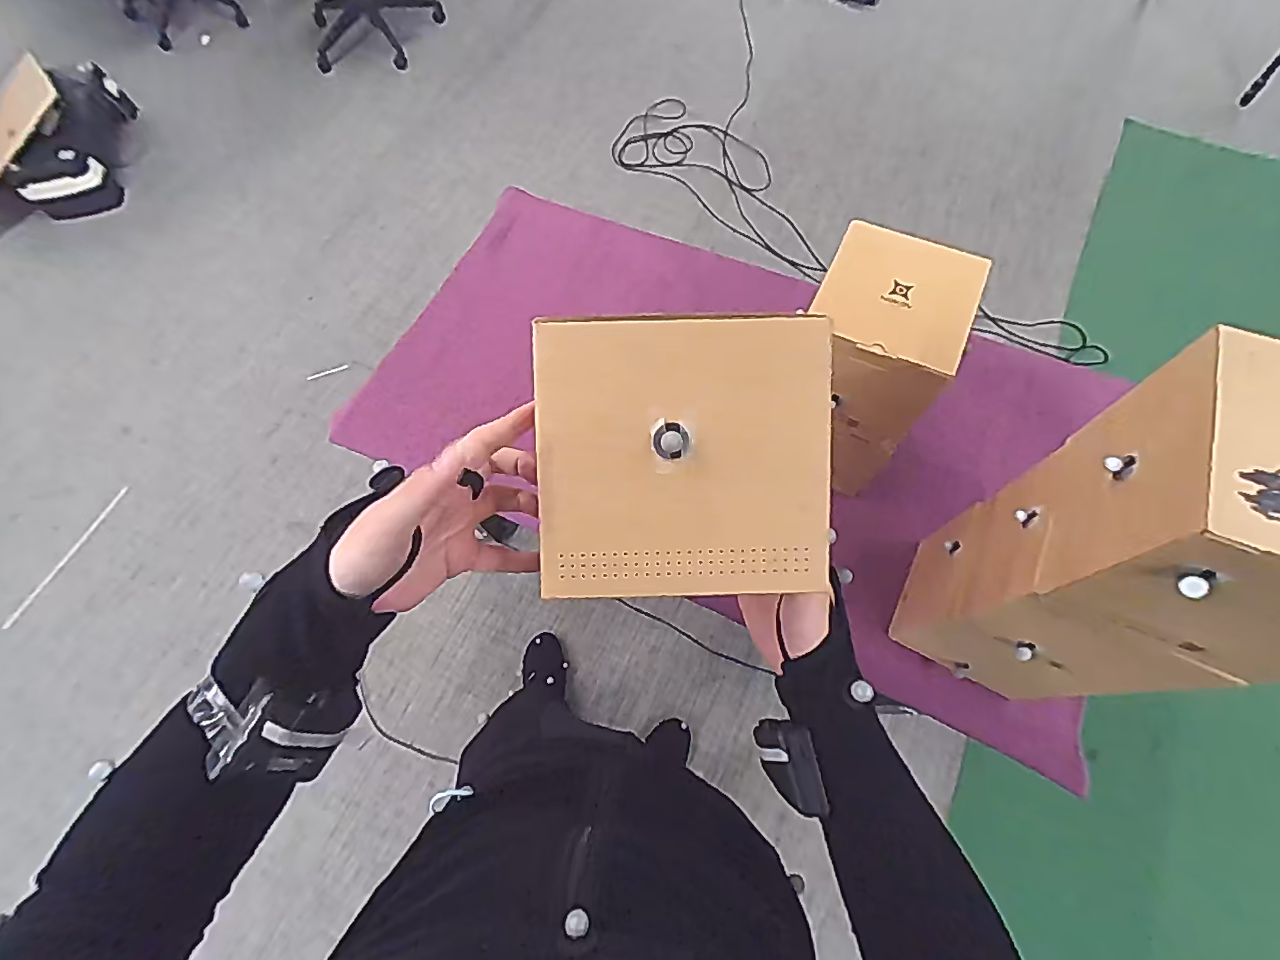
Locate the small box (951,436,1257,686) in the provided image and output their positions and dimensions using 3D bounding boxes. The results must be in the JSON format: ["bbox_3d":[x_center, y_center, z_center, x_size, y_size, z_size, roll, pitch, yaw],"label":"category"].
[{"bbox_3d":[0.458,0.091,0.559,0.168,0.176,0.179,26,70,14],"label":"small box"}]

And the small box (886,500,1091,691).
[{"bbox_3d":[0.460,0.157,0.709,0.179,0.176,0.168,27,70,13],"label":"small box"}]

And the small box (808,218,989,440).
[{"bbox_3d":[0.292,-0.181,0.681,0.168,0.176,0.179,24,71,11],"label":"small box"}]

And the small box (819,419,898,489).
[{"bbox_3d":[0.304,-0.115,0.829,0.168,0.176,0.179,27,71,13],"label":"small box"}]

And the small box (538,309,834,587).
[{"bbox_3d":[0.026,-0.023,0.400,0.179,0.168,0.176,0,95,-1],"label":"small box"}]
